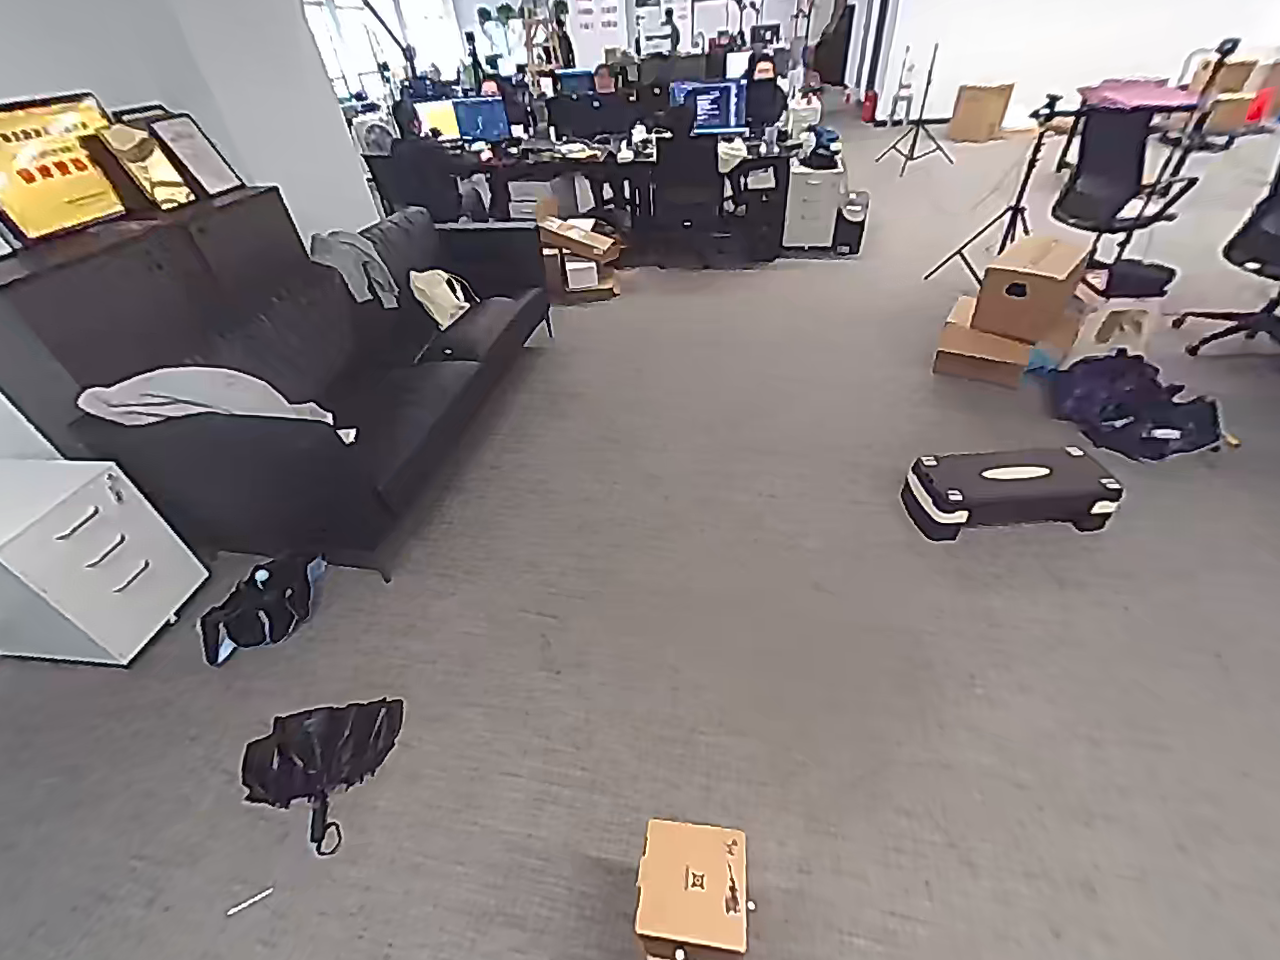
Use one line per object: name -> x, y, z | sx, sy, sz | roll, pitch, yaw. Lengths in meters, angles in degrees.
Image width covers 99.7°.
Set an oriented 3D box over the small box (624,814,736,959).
small box -> 0.078, 0.722, 0.957 | 0.179, 0.176, 0.168 | 2, 41, 10
